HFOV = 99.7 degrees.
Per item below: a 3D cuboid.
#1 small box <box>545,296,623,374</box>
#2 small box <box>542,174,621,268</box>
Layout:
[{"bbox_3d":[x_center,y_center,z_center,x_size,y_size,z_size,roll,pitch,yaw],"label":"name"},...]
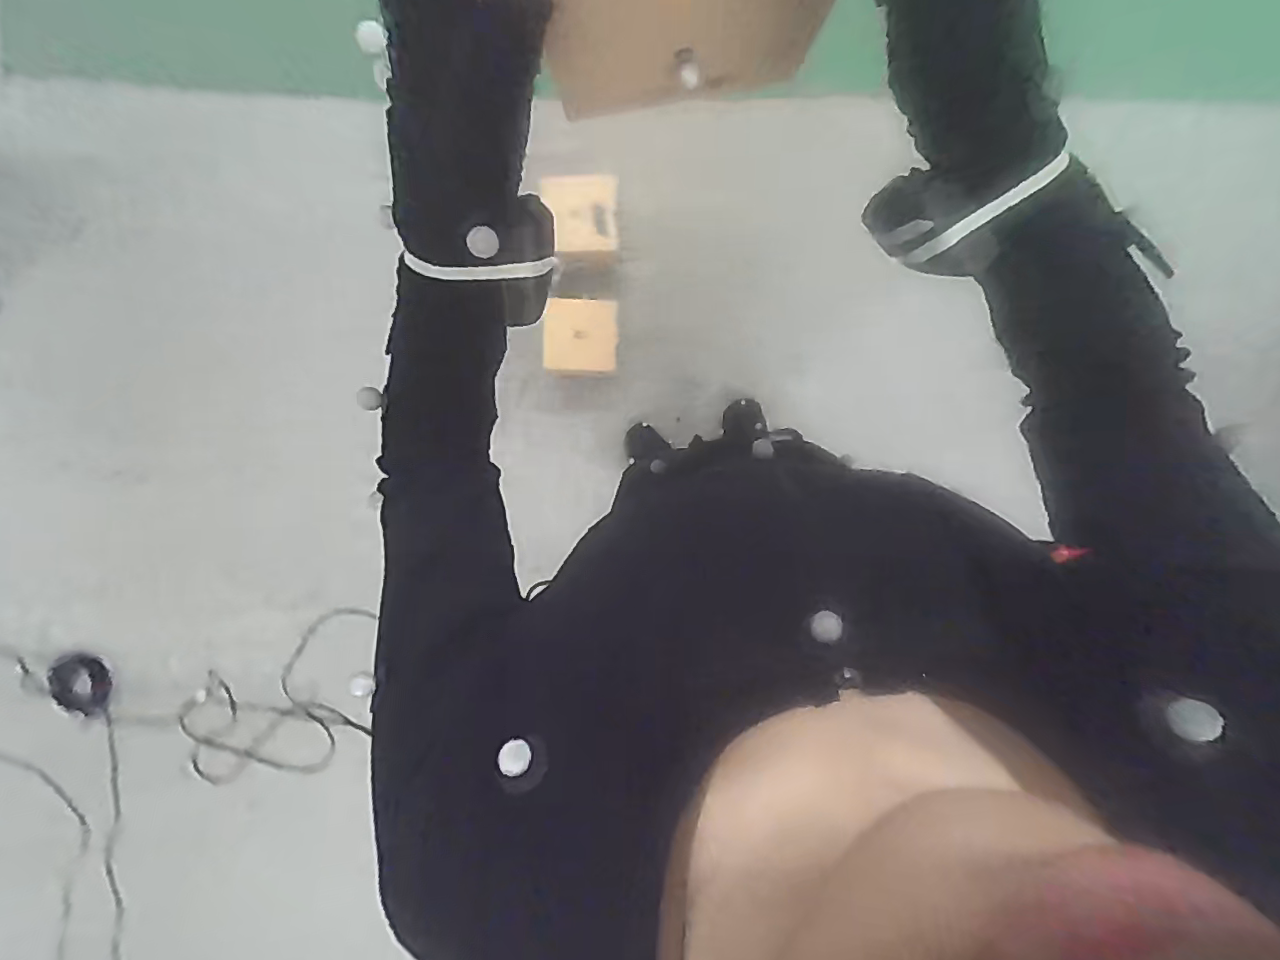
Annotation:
[{"bbox_3d":[-0.134,-0.354,1.345,0.179,0.176,0.168,1,97,0],"label":"small box"},{"bbox_3d":[-0.135,-0.621,1.310,0.179,0.176,0.168,-2,97,1],"label":"small box"}]
